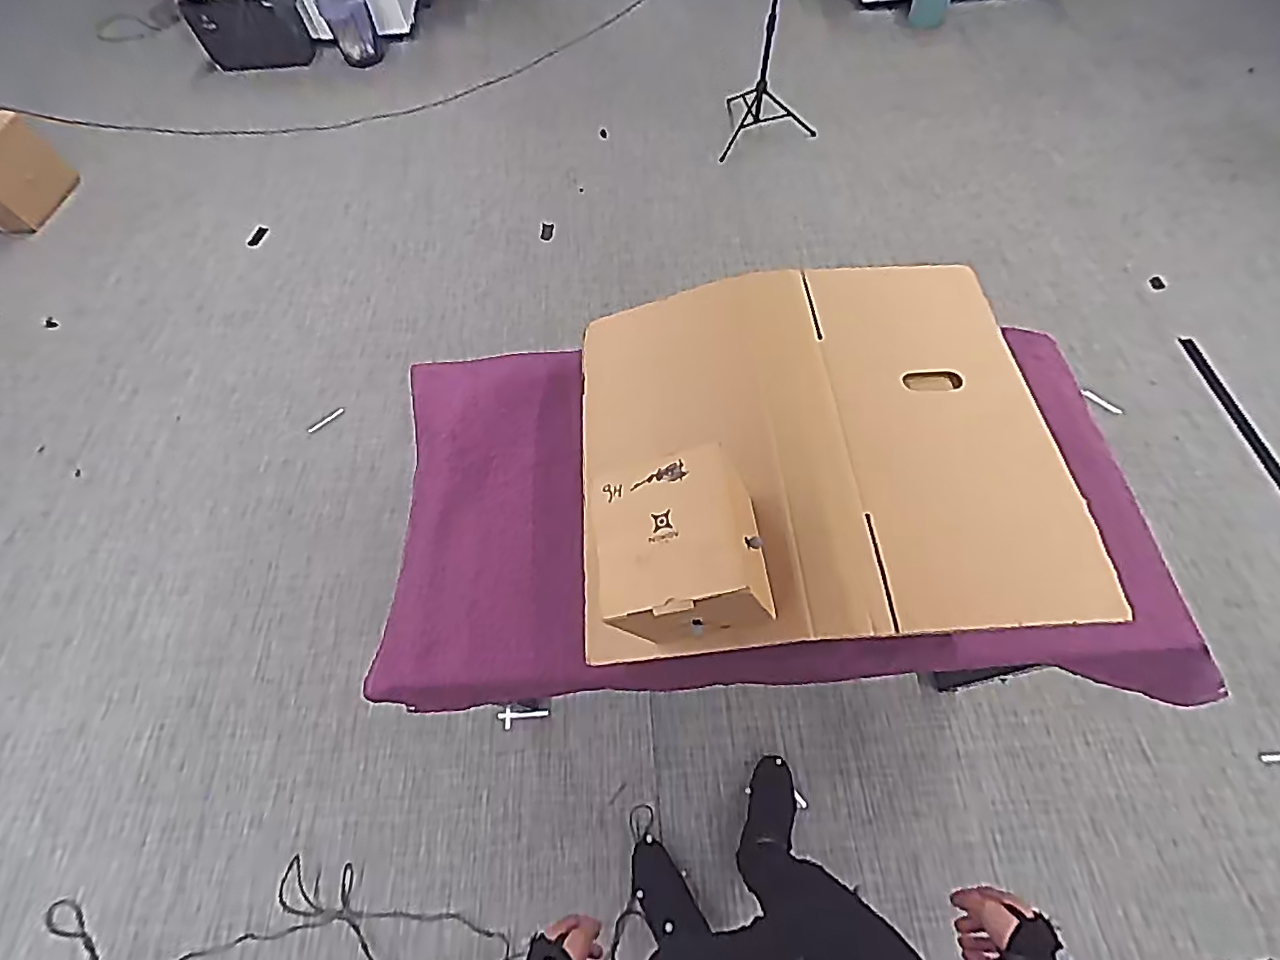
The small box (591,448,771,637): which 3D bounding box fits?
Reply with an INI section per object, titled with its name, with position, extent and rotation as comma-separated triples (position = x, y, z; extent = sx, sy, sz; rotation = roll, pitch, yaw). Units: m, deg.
[small box]
position = 0.054, 0.090, 0.667
extent = 0.168, 0.176, 0.179
rotation = -16, 62, 16
